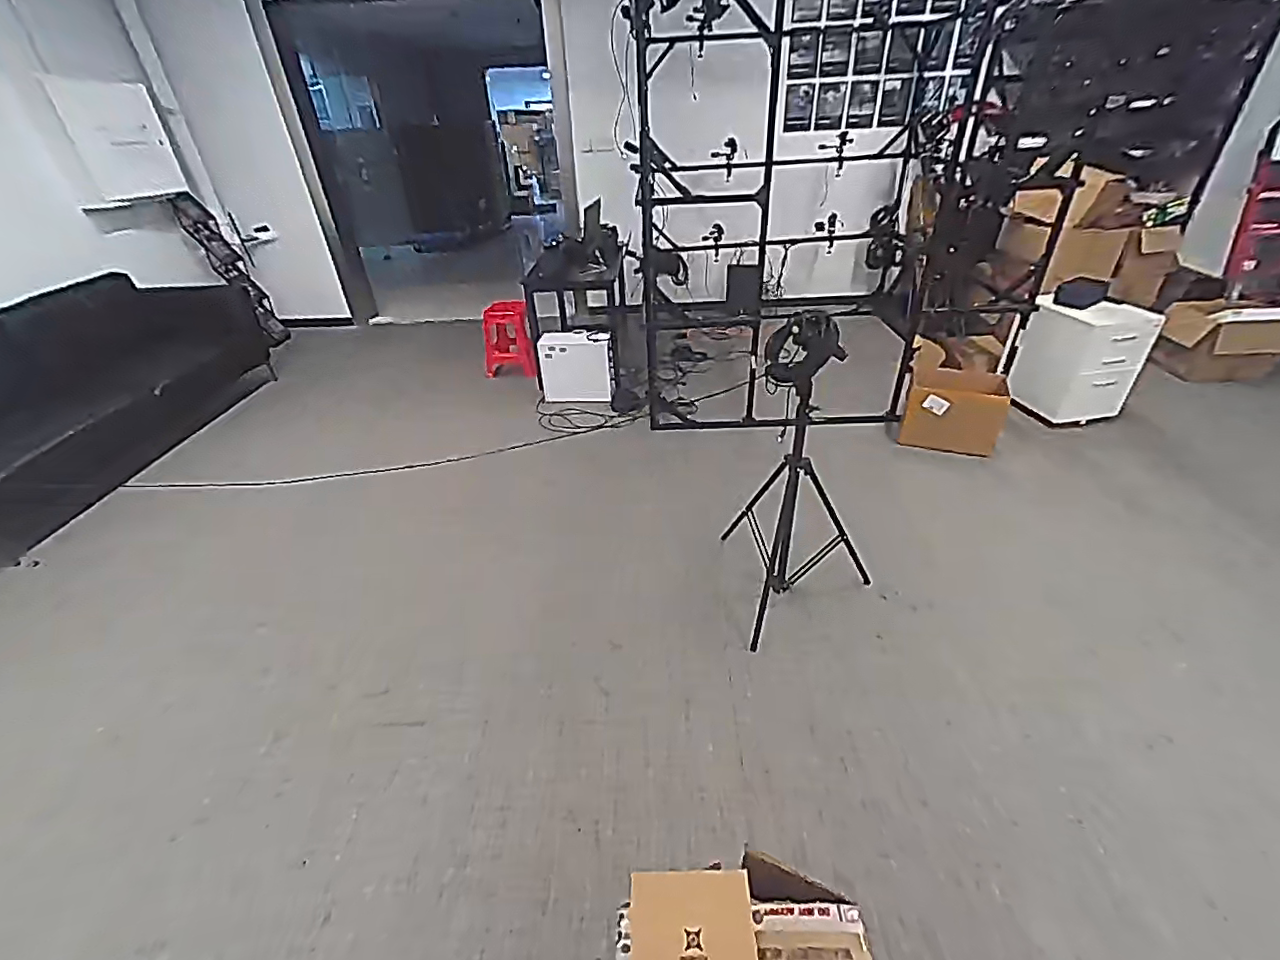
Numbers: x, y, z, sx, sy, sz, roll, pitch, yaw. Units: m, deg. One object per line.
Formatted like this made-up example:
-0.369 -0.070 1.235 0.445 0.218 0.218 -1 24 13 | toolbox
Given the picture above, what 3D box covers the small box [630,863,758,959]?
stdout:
0.073 0.664 0.747 0.168 0.176 0.179 -3 36 3 | small box
